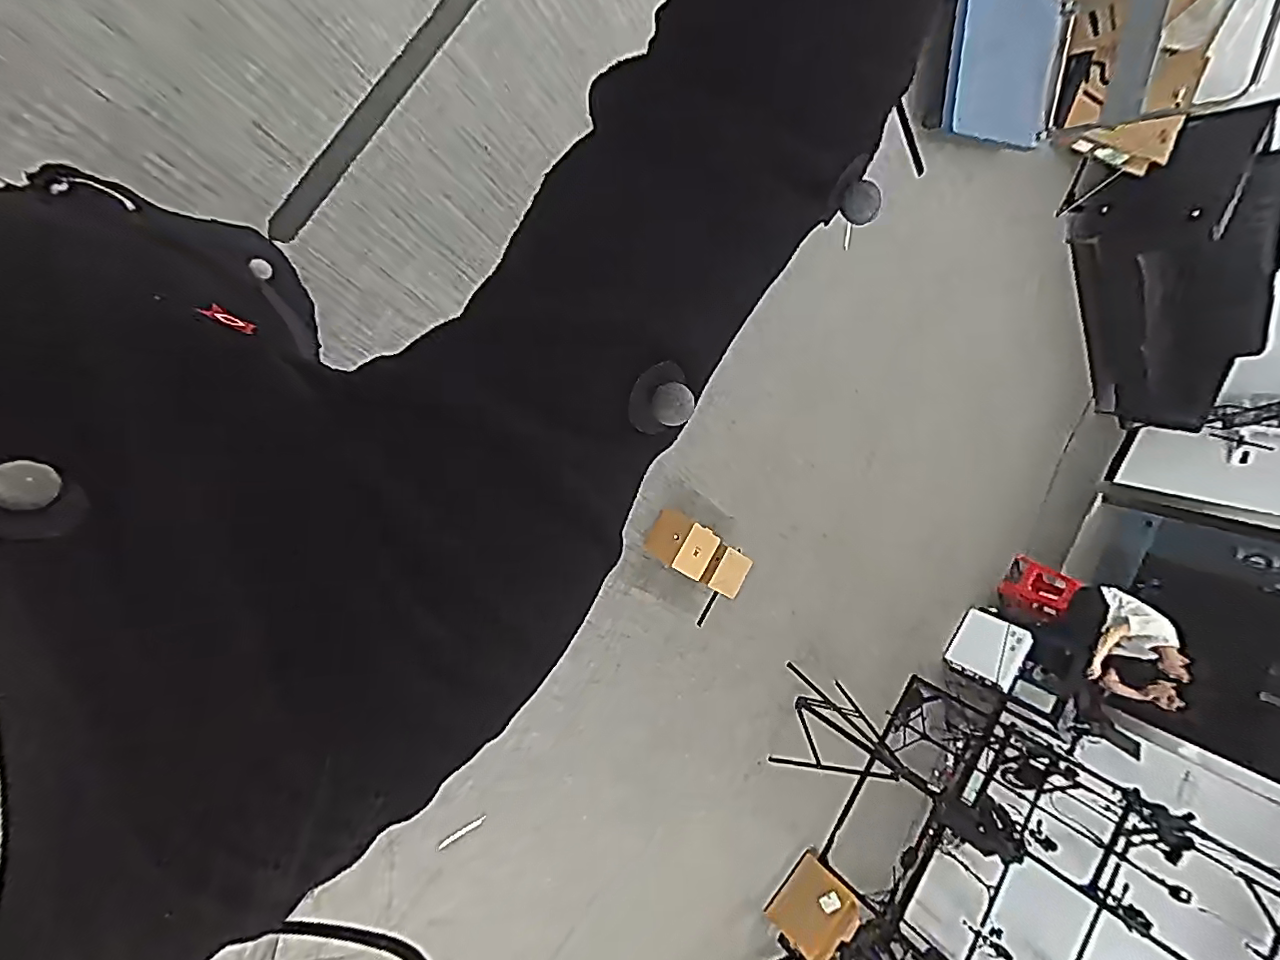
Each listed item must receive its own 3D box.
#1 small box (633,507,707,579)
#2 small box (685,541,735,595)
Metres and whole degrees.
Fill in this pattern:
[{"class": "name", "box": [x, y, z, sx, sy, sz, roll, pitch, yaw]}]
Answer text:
[{"class": "small box", "box": [0.101, 0.224, 1.941, 0.168, 0.176, 0.179, 36, 81, -41]}, {"class": "small box", "box": [0.242, 0.322, 2.084, 0.179, 0.176, 0.168, 34, 82, -41]}]
